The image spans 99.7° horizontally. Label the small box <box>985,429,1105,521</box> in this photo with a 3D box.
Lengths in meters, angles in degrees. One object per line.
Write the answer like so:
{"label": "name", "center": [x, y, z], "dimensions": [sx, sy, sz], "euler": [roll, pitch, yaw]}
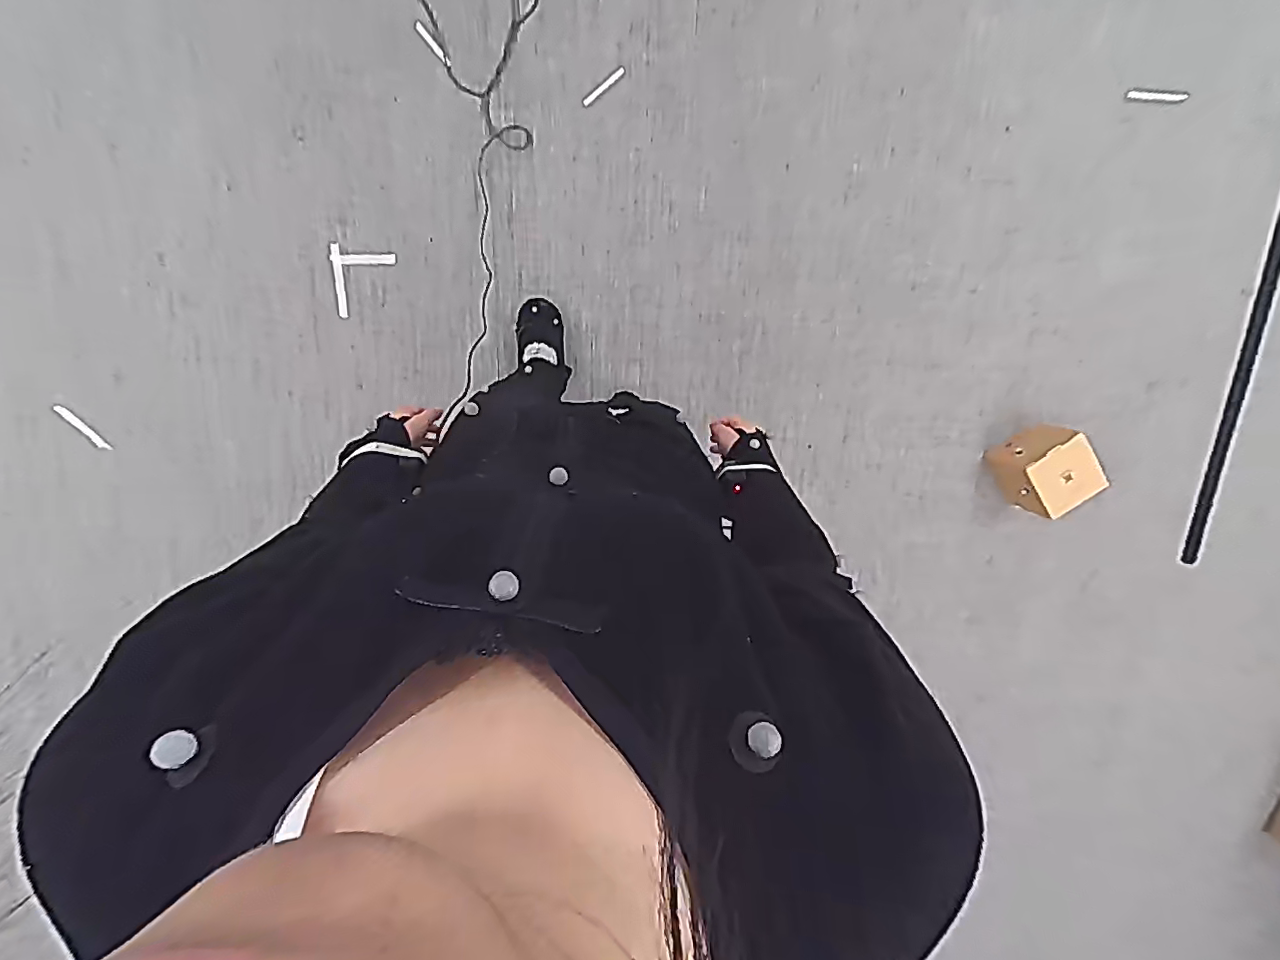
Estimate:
{"label": "small box", "center": [1.085, -0.023, 1.465], "dimensions": [0.168, 0.176, 0.179], "euler": [-35, 104, 7]}
